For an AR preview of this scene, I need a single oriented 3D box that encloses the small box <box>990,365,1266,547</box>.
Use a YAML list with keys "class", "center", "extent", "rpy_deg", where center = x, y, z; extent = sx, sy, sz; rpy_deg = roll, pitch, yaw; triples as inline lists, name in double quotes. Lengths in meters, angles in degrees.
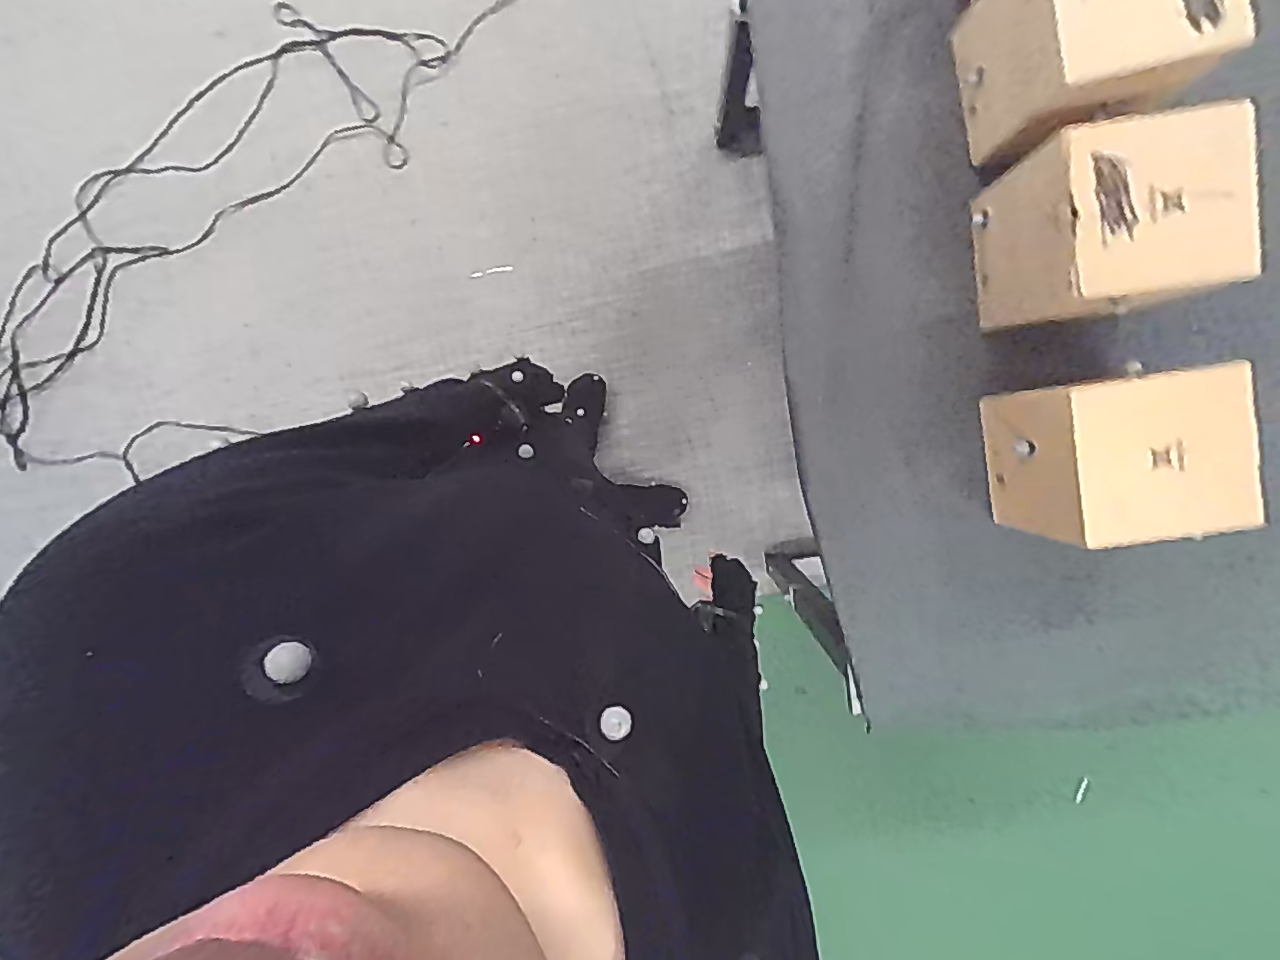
- class: "small box"
  center: [0.535, -0.027, 0.623]
  extent: [0.179, 0.176, 0.168]
  rpy_deg: [-9, 94, 4]
